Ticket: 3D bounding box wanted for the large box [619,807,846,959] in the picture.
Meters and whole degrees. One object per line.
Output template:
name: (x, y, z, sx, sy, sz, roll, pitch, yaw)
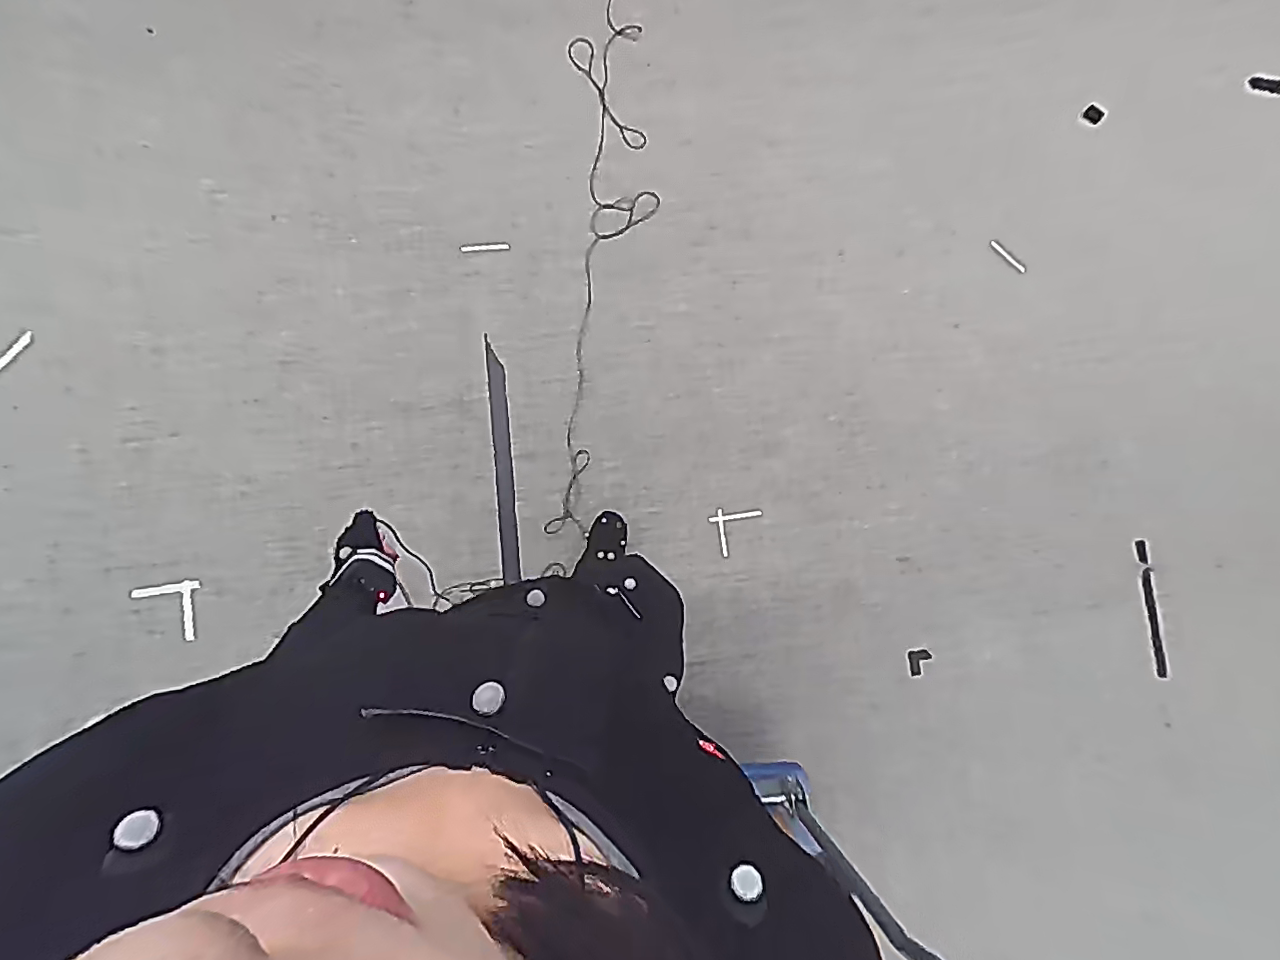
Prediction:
large box: (0.190, 0.969, 1.125, 0.408, 0.320, 0.320, -17, 84, -4)
